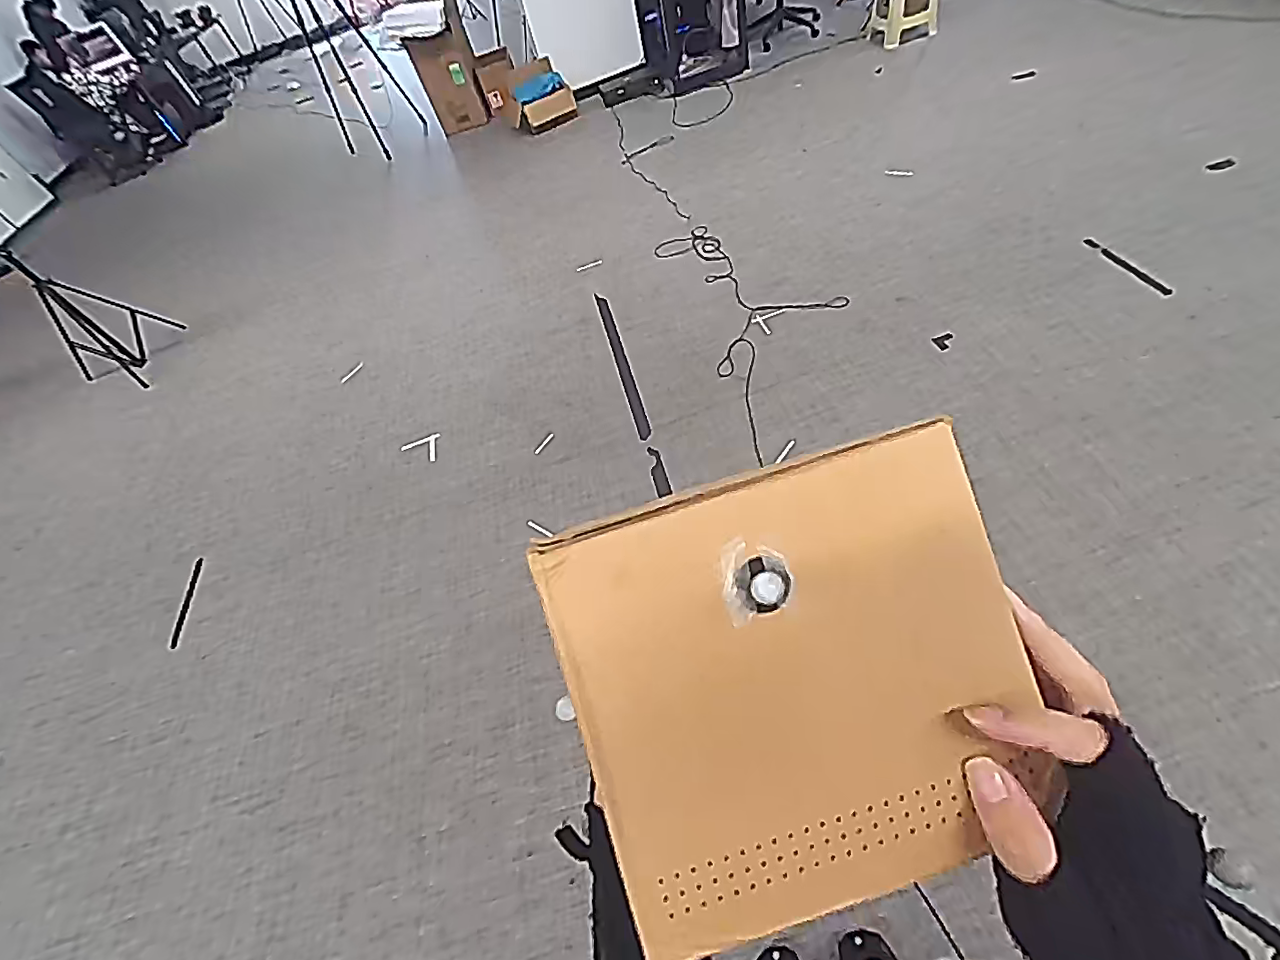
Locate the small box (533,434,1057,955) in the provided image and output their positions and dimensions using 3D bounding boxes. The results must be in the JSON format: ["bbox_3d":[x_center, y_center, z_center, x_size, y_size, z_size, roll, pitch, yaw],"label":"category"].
[{"bbox_3d":[0.063,0.090,0.287,0.179,0.168,0.176,-17,88,-3],"label":"small box"}]
